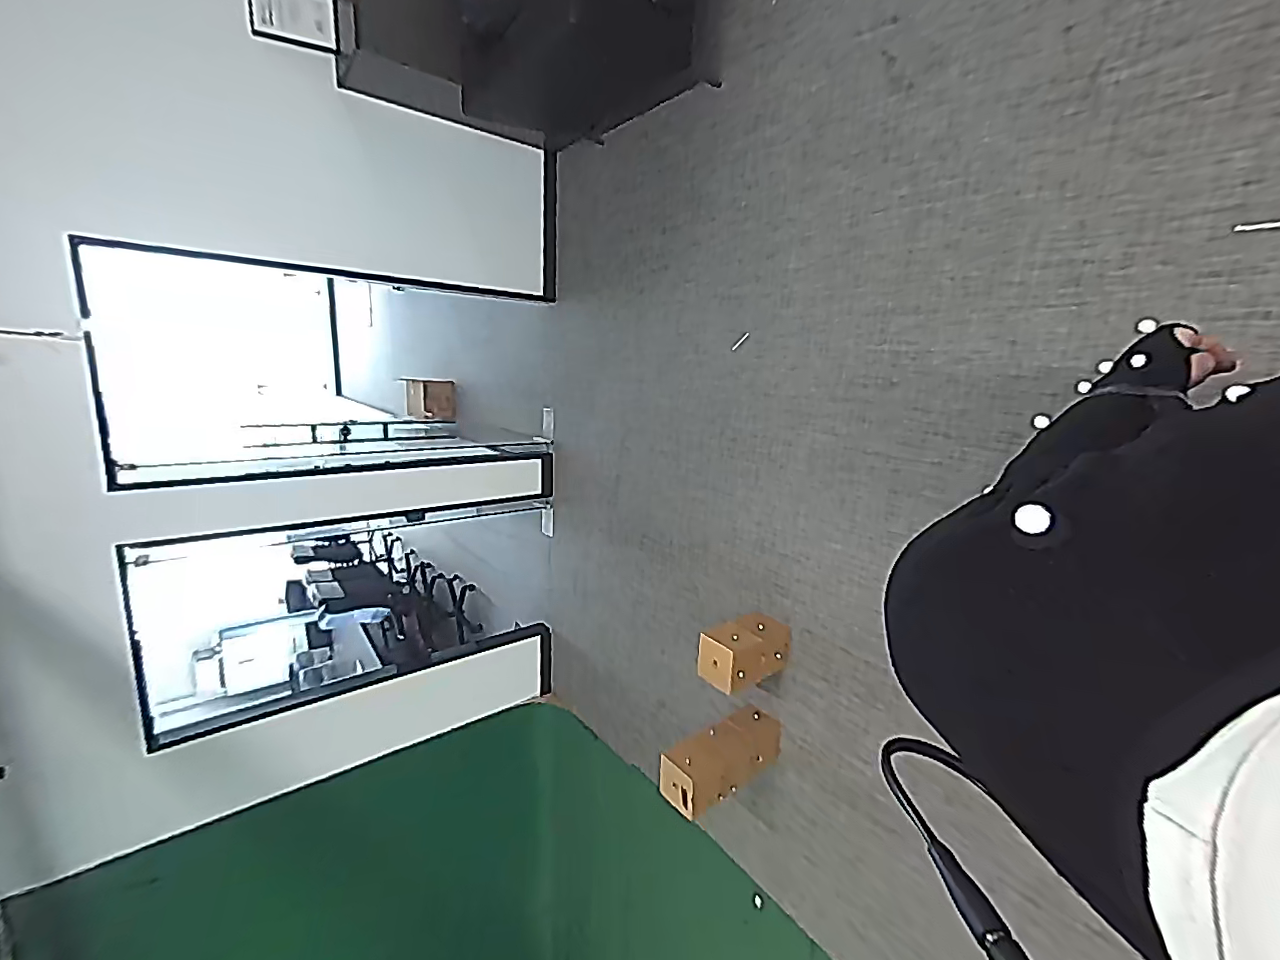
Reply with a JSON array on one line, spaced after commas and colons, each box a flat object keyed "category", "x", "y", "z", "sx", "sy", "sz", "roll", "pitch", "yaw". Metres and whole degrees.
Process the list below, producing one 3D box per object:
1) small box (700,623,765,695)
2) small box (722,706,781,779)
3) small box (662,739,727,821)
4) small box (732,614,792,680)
[{"category": "small box", "x": 0.343, "y": 0.651, "z": 1.995, "sx": 0.168, "sy": 0.176, "sz": 0.179, "roll": 17, "pitch": 109, "yaw": 50}, {"category": "small box", "x": 0.450, "y": 1.049, "z": 2.176, "sx": 0.168, "sy": 0.176, "sz": 0.179, "roll": 16, "pitch": 107, "yaw": 50}, {"category": "small box", "x": 0.199, "y": 1.080, "z": 1.967, "sx": 0.179, "sy": 0.176, "sz": 0.168, "roll": 15, "pitch": 106, "yaw": 51}, {"category": "small box", "x": 0.466, "y": 0.639, "z": 2.100, "sx": 0.179, "sy": 0.176, "sz": 0.168, "roll": 19, "pitch": 109, "yaw": 49}]
